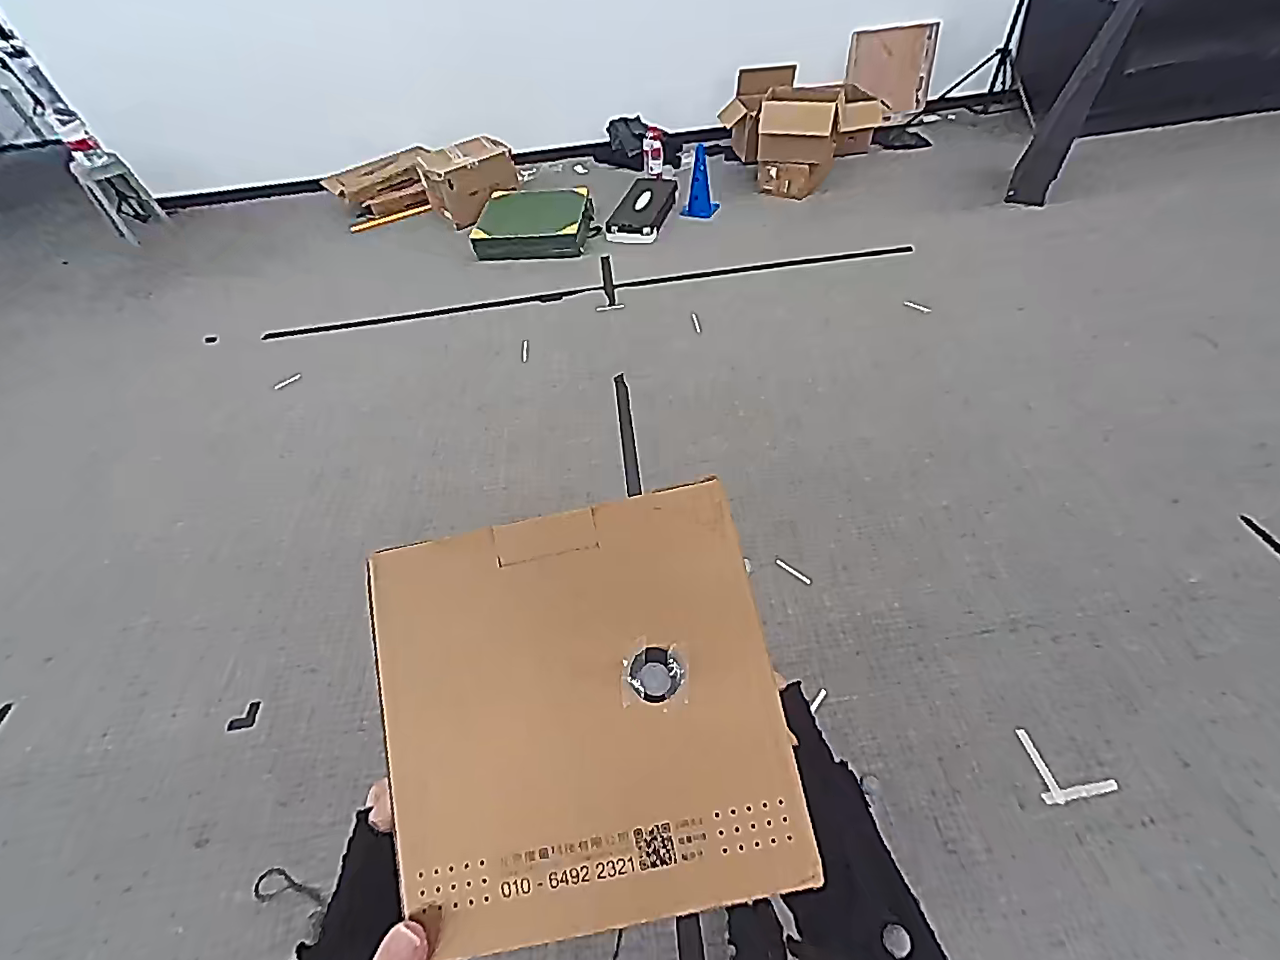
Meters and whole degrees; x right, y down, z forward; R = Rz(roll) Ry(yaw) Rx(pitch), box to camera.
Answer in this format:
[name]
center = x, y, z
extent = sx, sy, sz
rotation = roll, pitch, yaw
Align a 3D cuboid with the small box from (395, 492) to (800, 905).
[small box]
center = -0.016, 0.119, 0.325
extent = 0.168, 0.179, 0.176
rotation = -12, 78, 3
